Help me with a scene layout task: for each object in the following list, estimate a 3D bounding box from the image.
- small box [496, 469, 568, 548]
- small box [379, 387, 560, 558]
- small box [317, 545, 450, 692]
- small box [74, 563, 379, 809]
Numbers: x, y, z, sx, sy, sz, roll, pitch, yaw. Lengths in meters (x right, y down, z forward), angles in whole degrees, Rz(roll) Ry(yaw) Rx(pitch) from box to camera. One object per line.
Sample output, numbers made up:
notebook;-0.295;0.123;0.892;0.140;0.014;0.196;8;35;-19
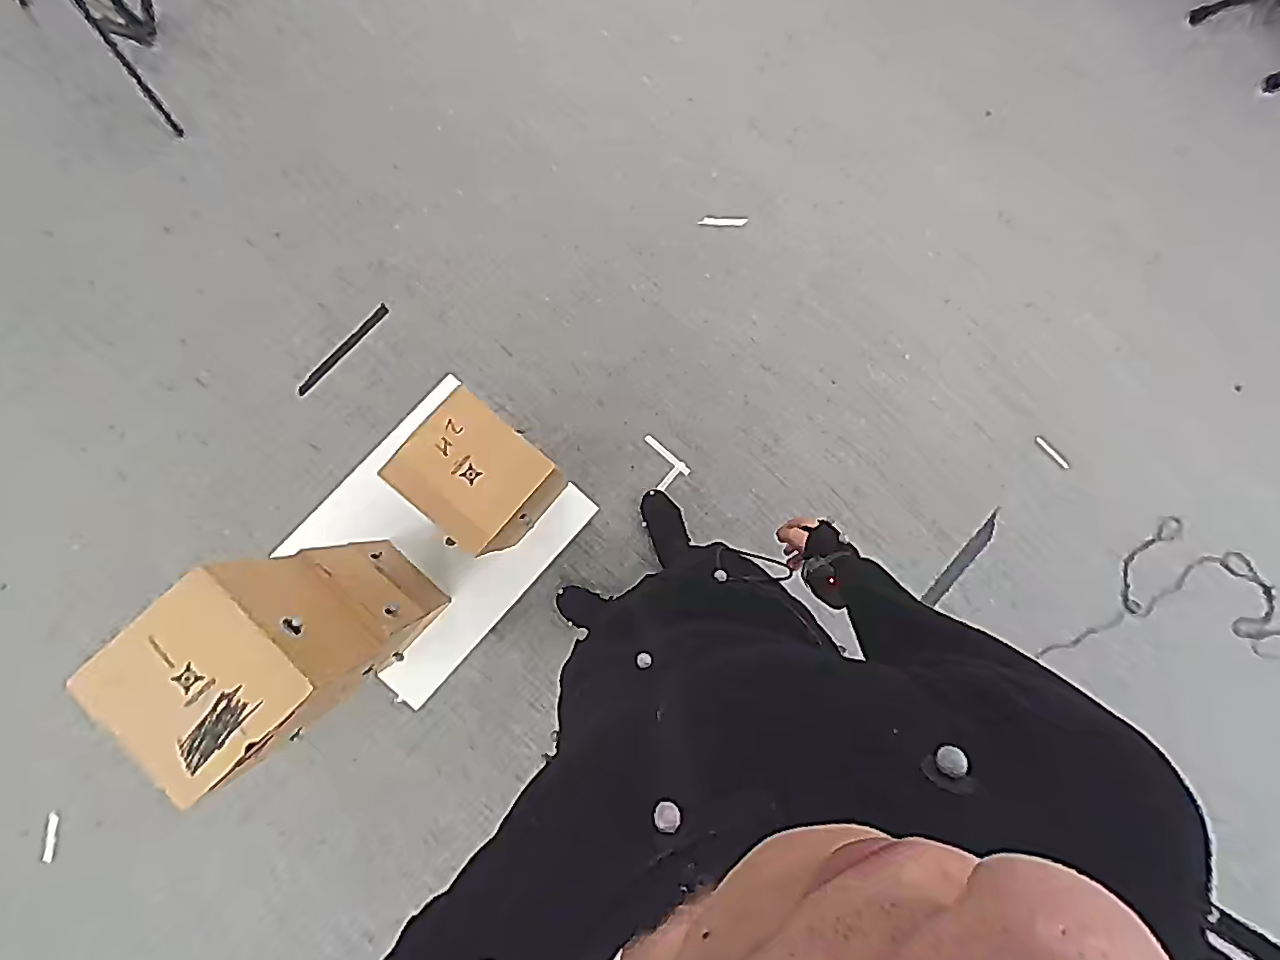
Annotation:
small box;-0.247;0.004;0.968;0.179;0.176;0.168;40;85;0
small box;-0.235;-0.007;0.803;0.179;0.176;0.168;41;84;-1
small box;-0.462;0.224;0.936;0.179;0.176;0.168;43;83;0
small box;-0.436;0.209;0.608;0.168;0.176;0.179;-44;89;-6
